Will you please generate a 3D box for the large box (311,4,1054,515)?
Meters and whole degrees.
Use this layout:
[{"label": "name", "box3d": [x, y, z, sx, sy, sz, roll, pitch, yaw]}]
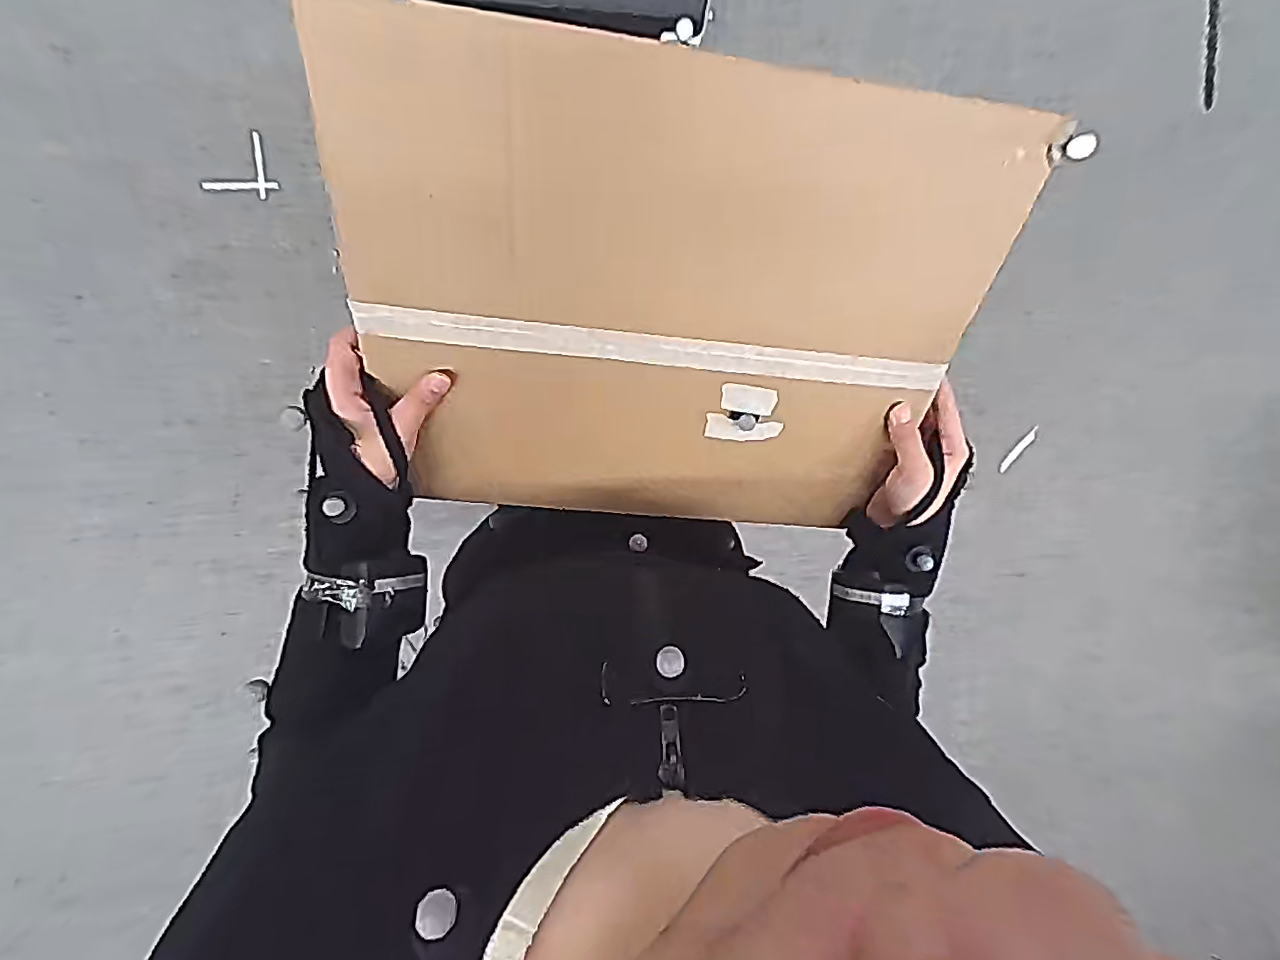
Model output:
[{"label": "large box", "box3d": [0.010, -0.189, 0.487, 0.408, 0.320, 0.320, 3, 130, -7]}]
